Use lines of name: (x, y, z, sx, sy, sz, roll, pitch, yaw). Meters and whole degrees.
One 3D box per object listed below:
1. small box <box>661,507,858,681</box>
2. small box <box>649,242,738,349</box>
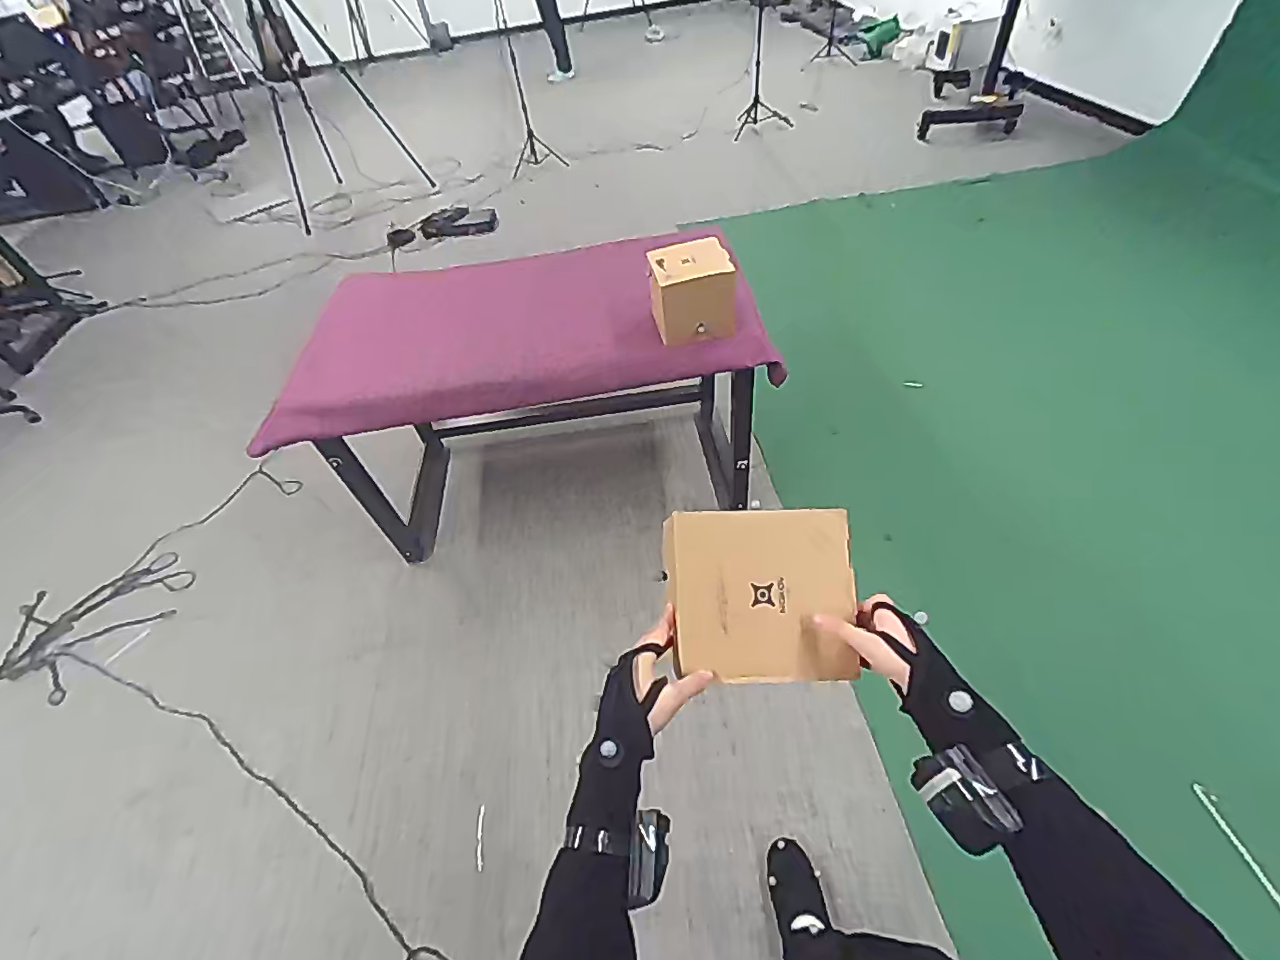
small box: (0.117, 0.120, 0.599, 0.179, 0.176, 0.168, 0, 80, -2)
small box: (0.127, -0.441, 1.298, 0.179, 0.176, 0.168, -12, 48, -1)
